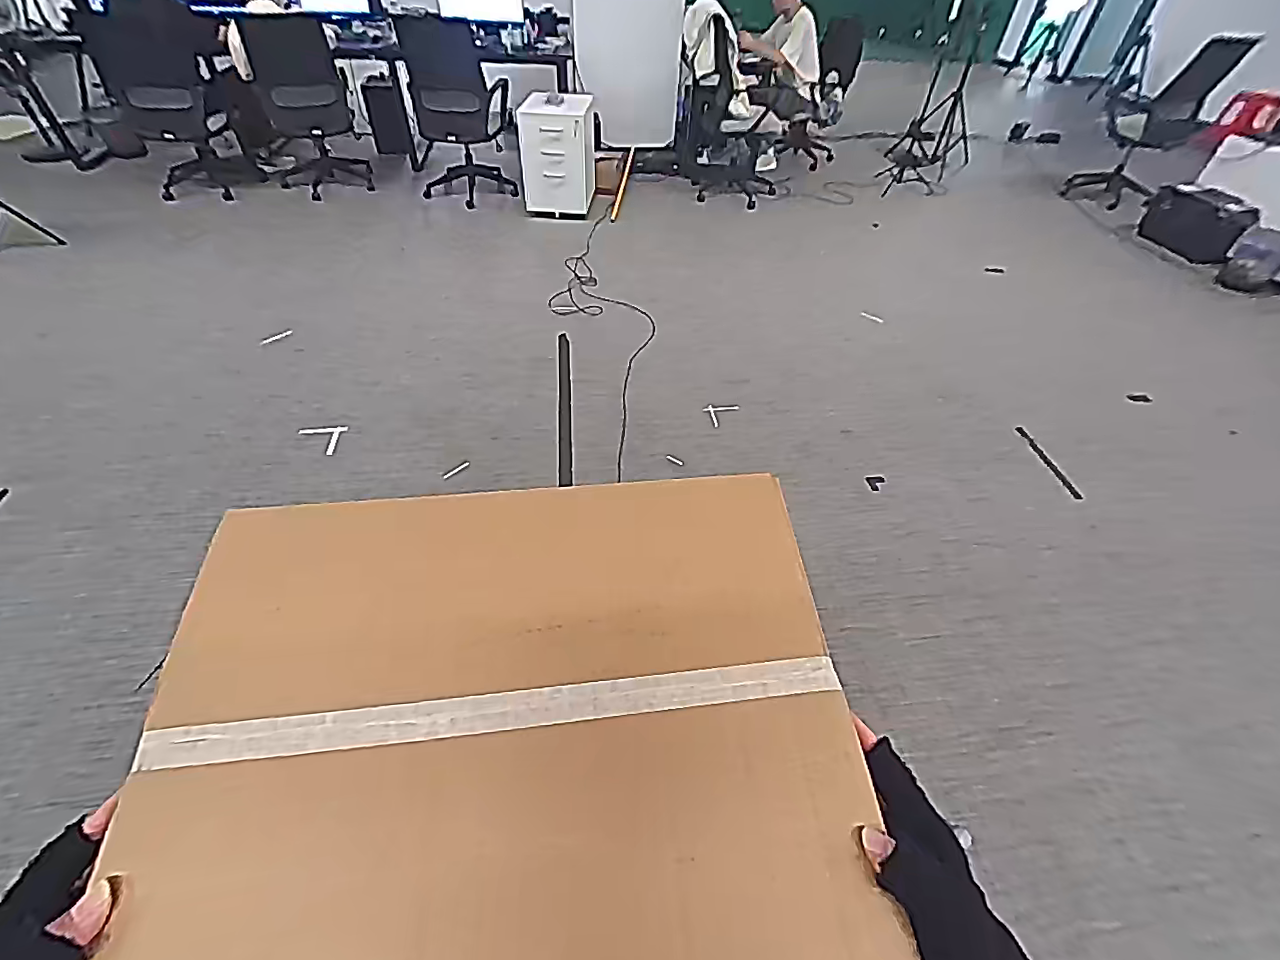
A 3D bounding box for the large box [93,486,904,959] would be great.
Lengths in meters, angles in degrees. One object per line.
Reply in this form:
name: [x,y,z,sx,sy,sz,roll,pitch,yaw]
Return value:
large box: [-0.083,0.229,0.452,0.408,0.320,0.320,-4,56,-5]
